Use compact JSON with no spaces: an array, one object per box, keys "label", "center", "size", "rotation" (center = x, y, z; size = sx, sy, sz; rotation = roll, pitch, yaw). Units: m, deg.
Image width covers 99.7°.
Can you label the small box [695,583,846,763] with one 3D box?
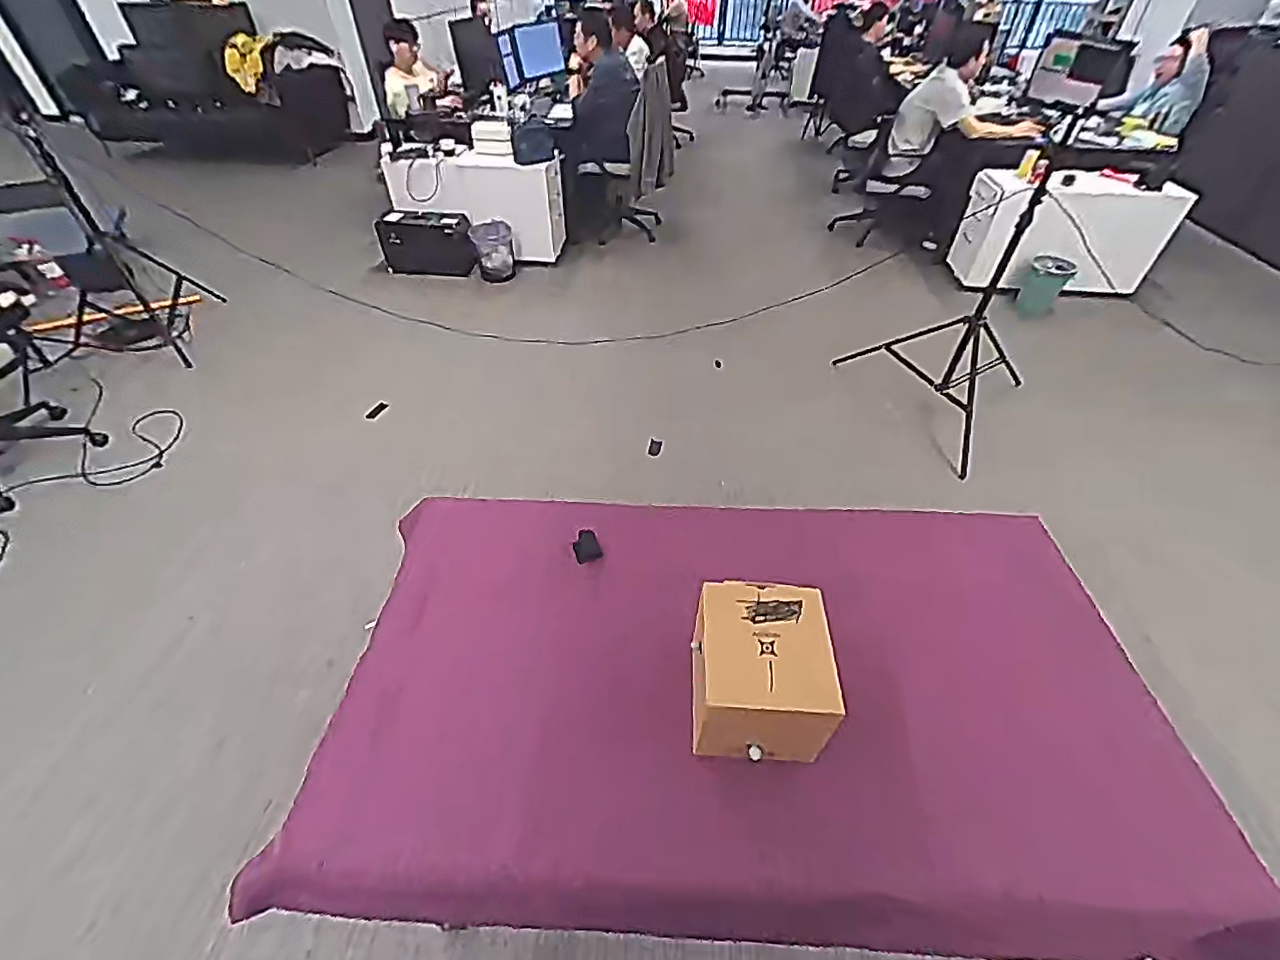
[{"label":"small box","center":[0.166,0.267,0.752],"size":[0.168,0.176,0.179],"rotation":[3,45,2]}]
